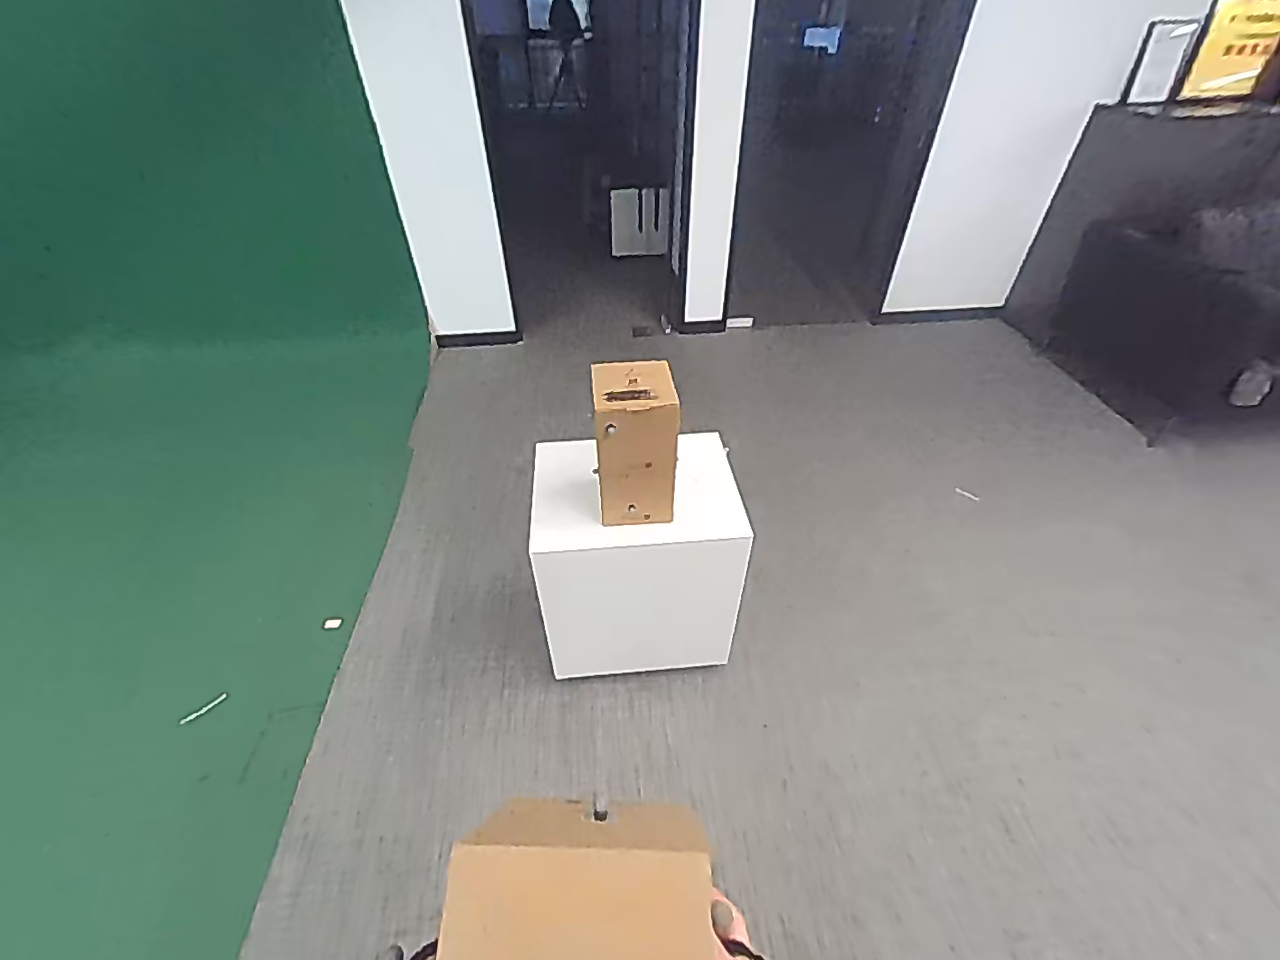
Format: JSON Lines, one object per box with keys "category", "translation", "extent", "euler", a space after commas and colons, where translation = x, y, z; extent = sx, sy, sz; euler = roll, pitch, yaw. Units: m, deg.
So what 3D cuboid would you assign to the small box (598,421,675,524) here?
{"category": "small box", "translation": [-0.013, -0.019, 1.254], "extent": [0.168, 0.176, 0.179], "euler": [-3, 41, -4]}
